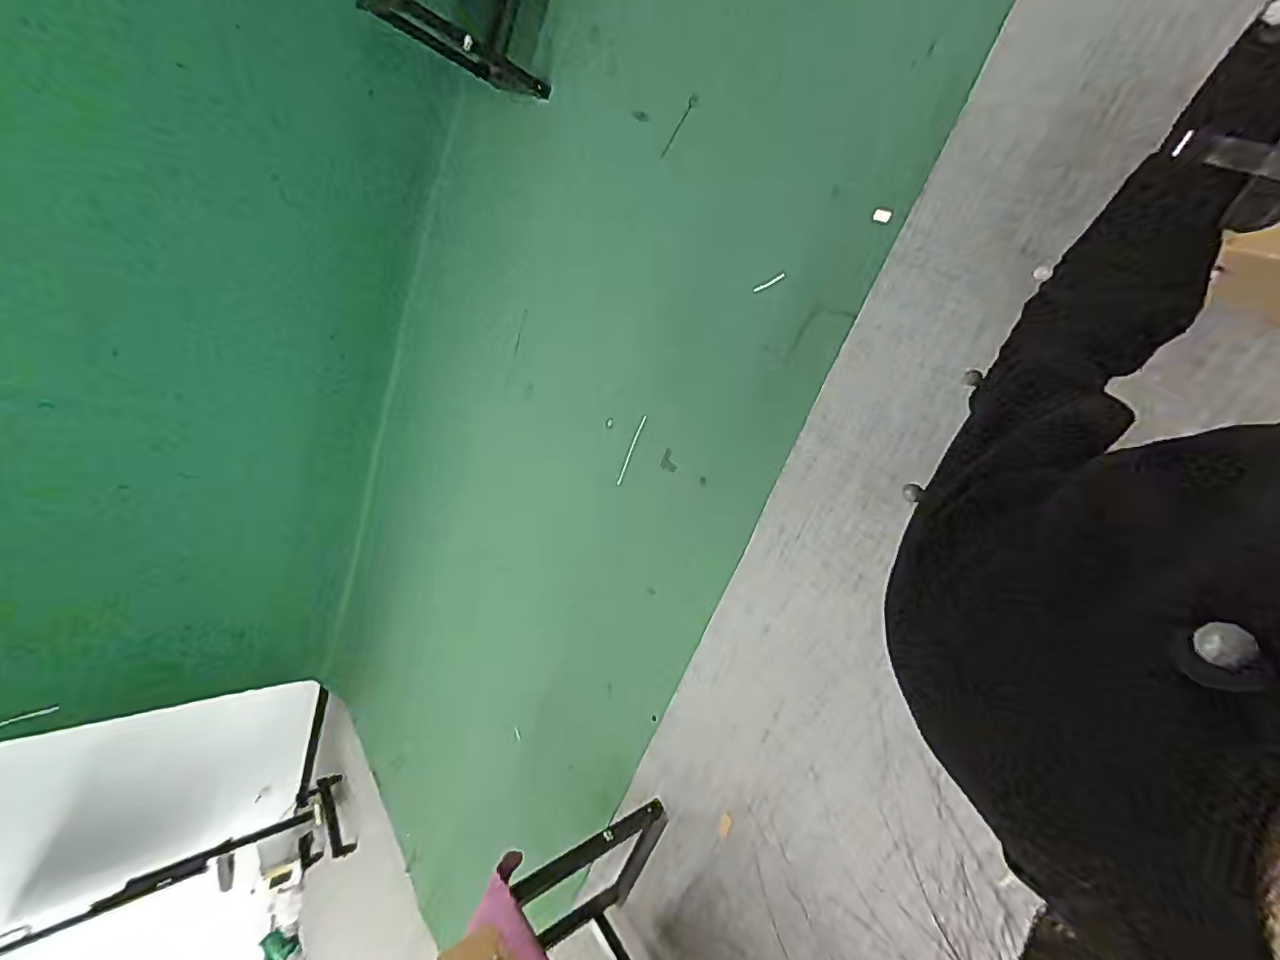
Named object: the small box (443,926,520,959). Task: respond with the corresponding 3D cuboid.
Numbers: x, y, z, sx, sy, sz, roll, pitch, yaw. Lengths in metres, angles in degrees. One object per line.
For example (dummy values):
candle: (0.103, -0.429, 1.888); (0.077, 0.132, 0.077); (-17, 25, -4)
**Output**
small box: (-0.421, 1.338, 1.429); (0.179, 0.176, 0.168); (34, 112, 40)
